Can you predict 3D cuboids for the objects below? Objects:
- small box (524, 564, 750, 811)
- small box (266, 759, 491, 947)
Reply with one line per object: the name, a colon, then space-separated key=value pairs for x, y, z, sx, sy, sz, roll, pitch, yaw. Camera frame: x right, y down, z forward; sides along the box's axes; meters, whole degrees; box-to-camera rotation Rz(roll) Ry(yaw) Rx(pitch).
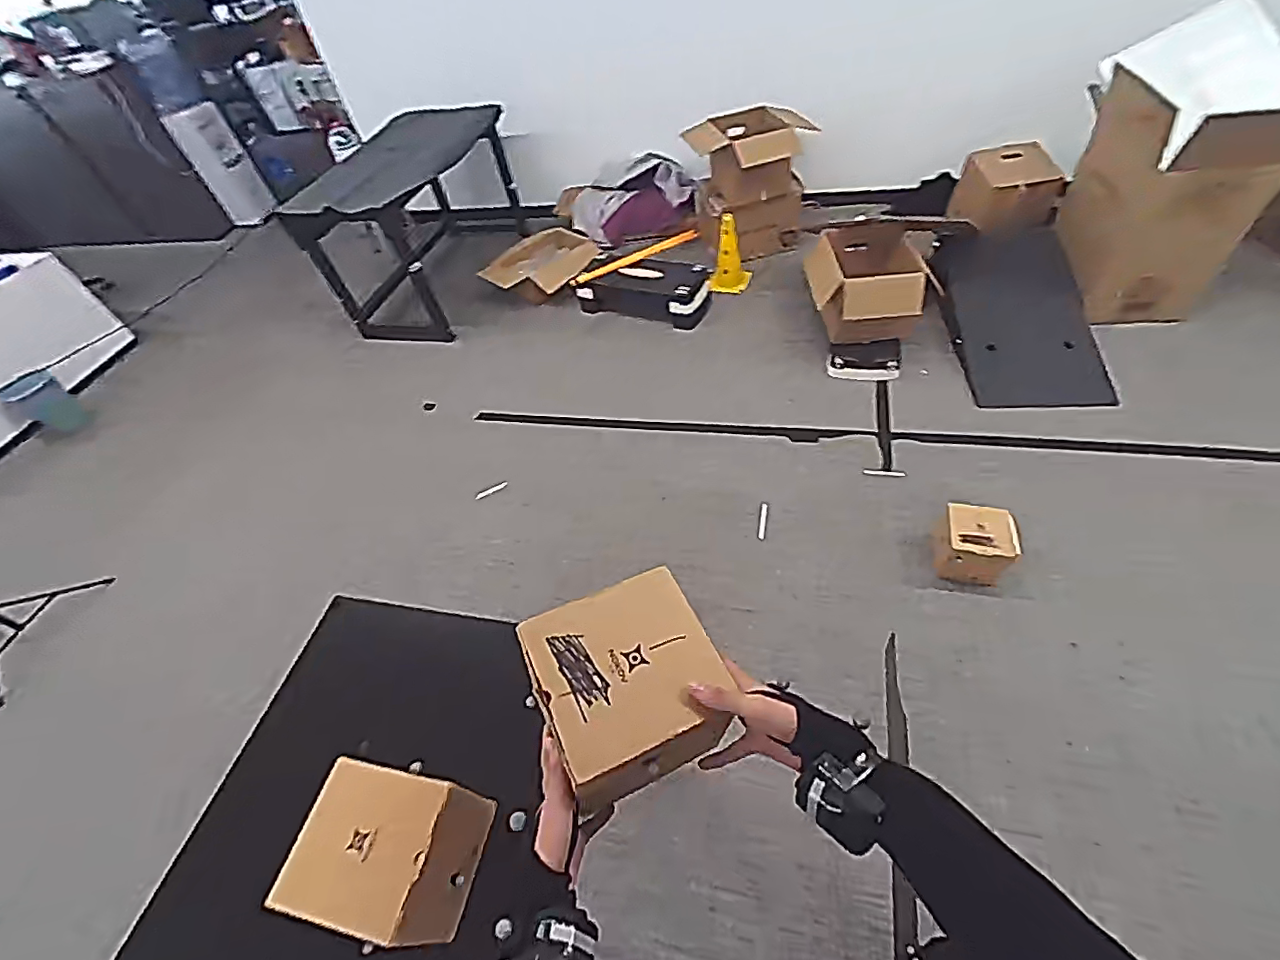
small box: x=-0.009 y=0.226 z=0.585 sx=0.179 sy=0.176 sz=0.168 roll=-18 pitch=53 yaw=-19
small box: x=-0.329 y=0.496 z=0.720 sx=0.179 sy=0.176 sz=0.168 roll=4 pitch=52 yaw=14
